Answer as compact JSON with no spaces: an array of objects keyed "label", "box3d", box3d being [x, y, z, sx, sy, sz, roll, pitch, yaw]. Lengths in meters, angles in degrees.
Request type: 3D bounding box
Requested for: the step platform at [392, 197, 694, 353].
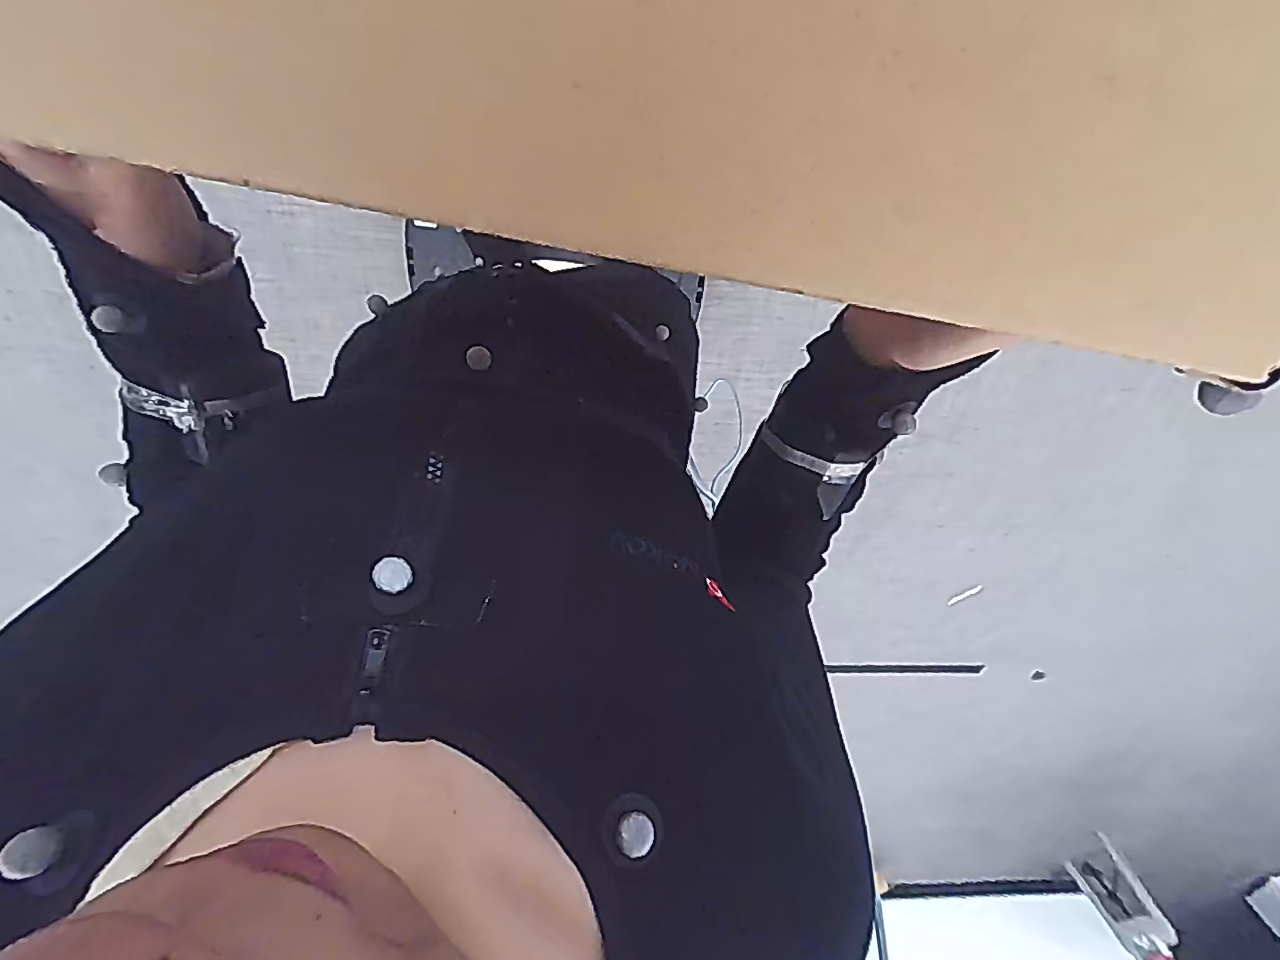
[{"label":"step platform","box3d":[-0.217,-0.505,1.288,0.684,0.204,0.286,8,120,-7]}]
